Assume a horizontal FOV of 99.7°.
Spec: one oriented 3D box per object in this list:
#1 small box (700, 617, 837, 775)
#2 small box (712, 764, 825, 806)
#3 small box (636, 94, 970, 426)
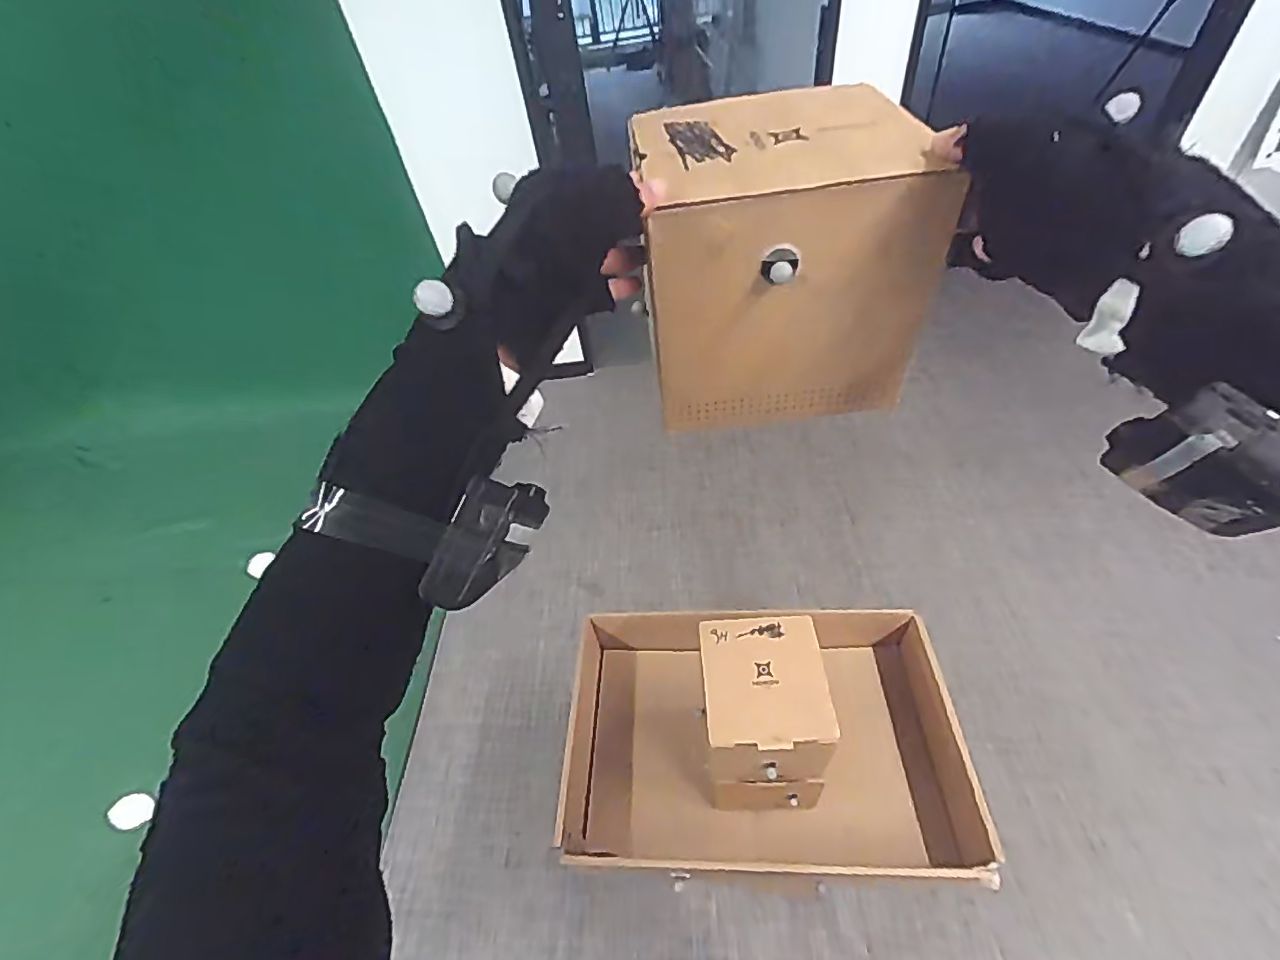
[{"bbox_3d":[0.178,0.322,0.794,0.168,0.176,0.179,-3,48,4],"label":"small box"},{"bbox_3d":[0.202,0.434,0.911,0.168,0.176,0.179,-4,45,4],"label":"small box"},{"bbox_3d":[0.095,-0.156,0.400,0.179,0.176,0.168,-6,49,2],"label":"small box"}]
